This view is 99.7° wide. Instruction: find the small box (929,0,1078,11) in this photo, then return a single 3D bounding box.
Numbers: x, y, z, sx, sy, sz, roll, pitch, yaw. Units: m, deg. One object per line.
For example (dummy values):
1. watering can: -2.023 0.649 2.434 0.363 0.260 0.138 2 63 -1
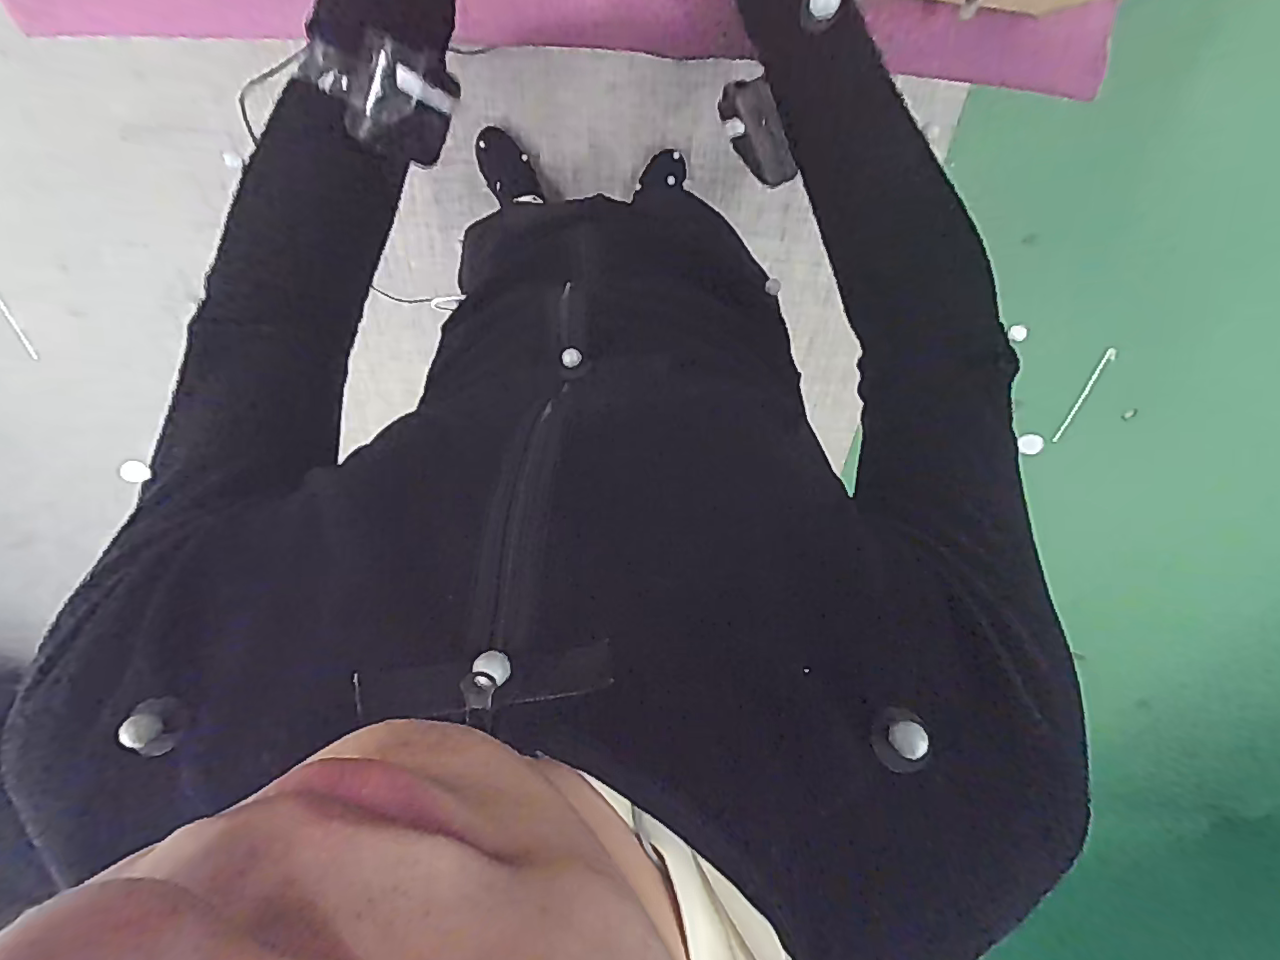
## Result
1. small box: 0.338 -0.532 0.468 0.179 0.176 0.168 6 125 -3
